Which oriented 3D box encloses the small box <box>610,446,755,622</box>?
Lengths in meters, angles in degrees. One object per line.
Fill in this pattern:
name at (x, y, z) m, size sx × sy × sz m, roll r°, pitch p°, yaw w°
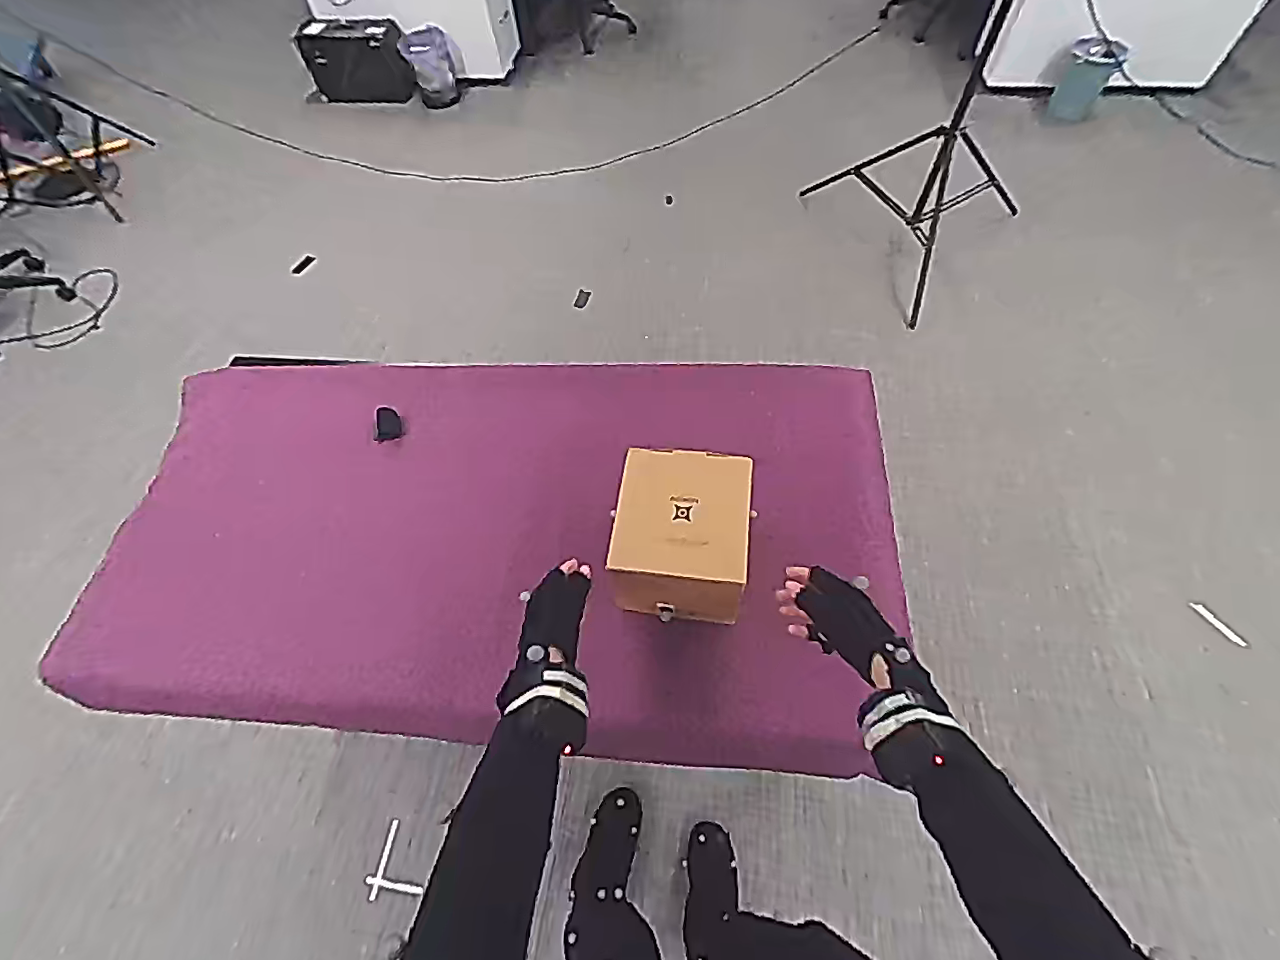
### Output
small box at (0.061, 0.077, 0.737) m, size 0.168 × 0.176 × 0.179 m, roll 5°, pitch 60°, yaw 8°
